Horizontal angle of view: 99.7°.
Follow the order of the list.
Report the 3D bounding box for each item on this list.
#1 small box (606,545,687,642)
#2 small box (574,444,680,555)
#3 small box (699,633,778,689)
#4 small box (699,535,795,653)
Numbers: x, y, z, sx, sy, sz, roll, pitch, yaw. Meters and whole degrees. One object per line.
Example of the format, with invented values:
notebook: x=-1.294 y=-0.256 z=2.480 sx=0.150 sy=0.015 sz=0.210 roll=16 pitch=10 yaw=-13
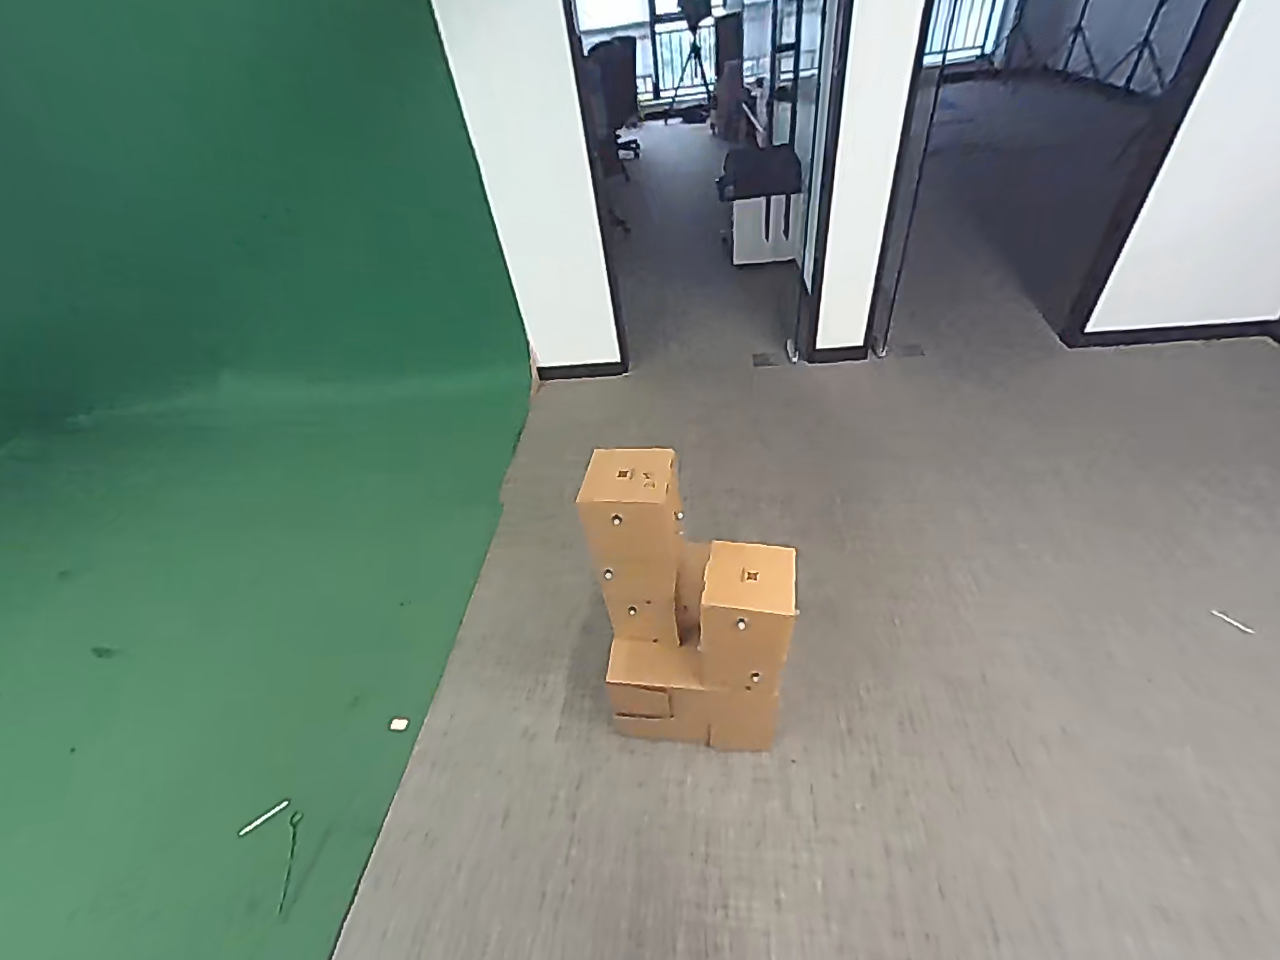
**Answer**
small box: x=0.025 y=0.276 z=1.351 sx=0.168 sy=0.176 sz=0.179 roll=2 pitch=42 yaw=13
small box: x=-0.019 y=0.041 z=1.122 sx=0.179 sy=0.176 sz=0.168 roll=1 pitch=42 yaw=12
small box: x=0.229 y=0.351 z=1.232 sx=0.168 sy=0.176 sz=0.179 roll=4 pitch=42 yaw=12
small box: x=0.221 y=0.237 z=1.115 sx=0.179 sy=0.176 sz=0.168 roll=4 pitch=43 yaw=13
